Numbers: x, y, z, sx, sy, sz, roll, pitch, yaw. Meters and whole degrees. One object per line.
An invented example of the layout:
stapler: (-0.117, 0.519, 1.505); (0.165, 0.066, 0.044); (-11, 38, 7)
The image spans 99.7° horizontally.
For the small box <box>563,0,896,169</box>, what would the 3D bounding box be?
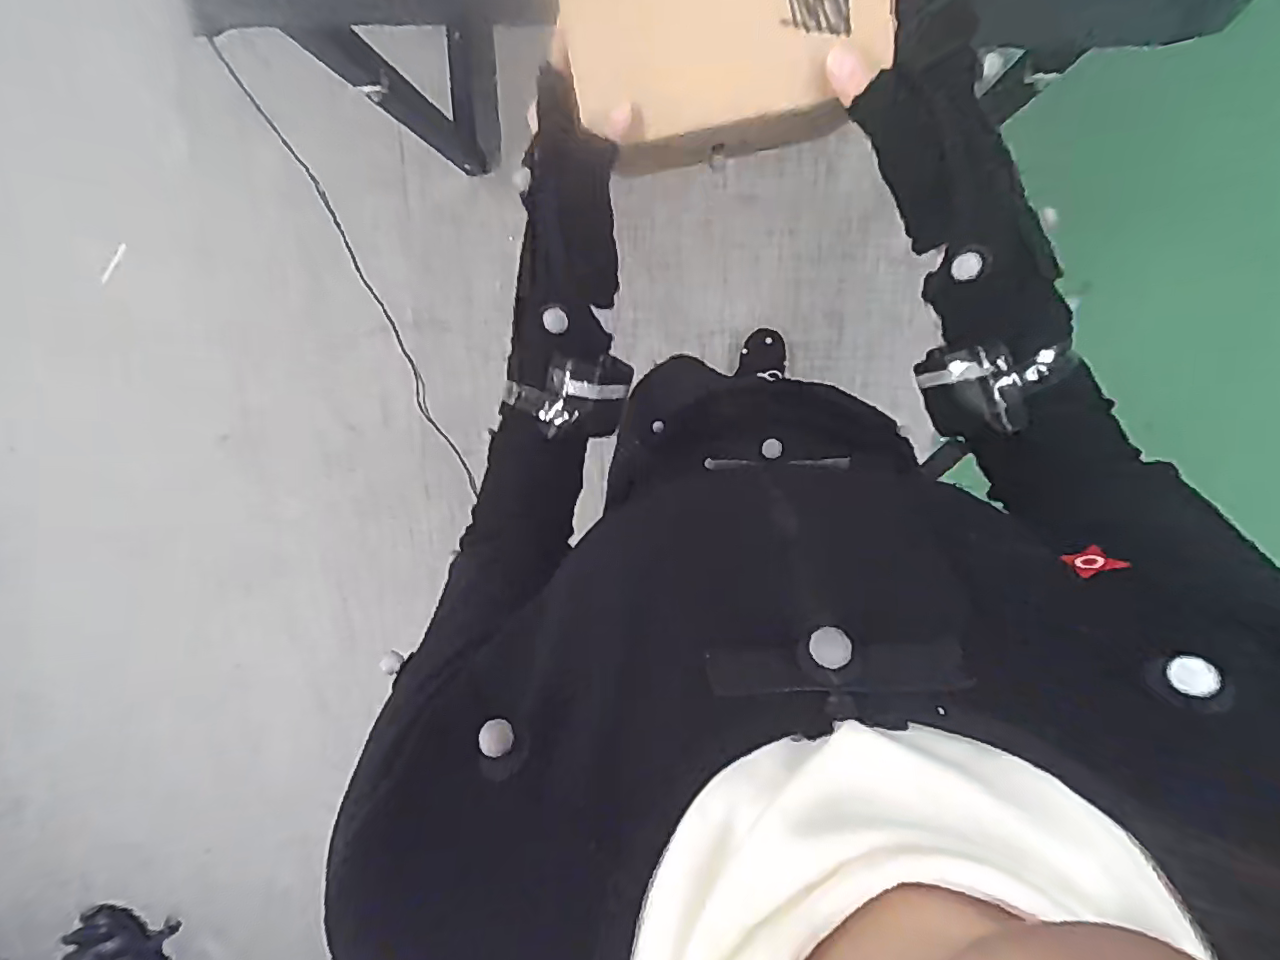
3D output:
small box: (0.048, -0.314, 0.348); (0.179, 0.176, 0.168); (-7, 113, 9)
